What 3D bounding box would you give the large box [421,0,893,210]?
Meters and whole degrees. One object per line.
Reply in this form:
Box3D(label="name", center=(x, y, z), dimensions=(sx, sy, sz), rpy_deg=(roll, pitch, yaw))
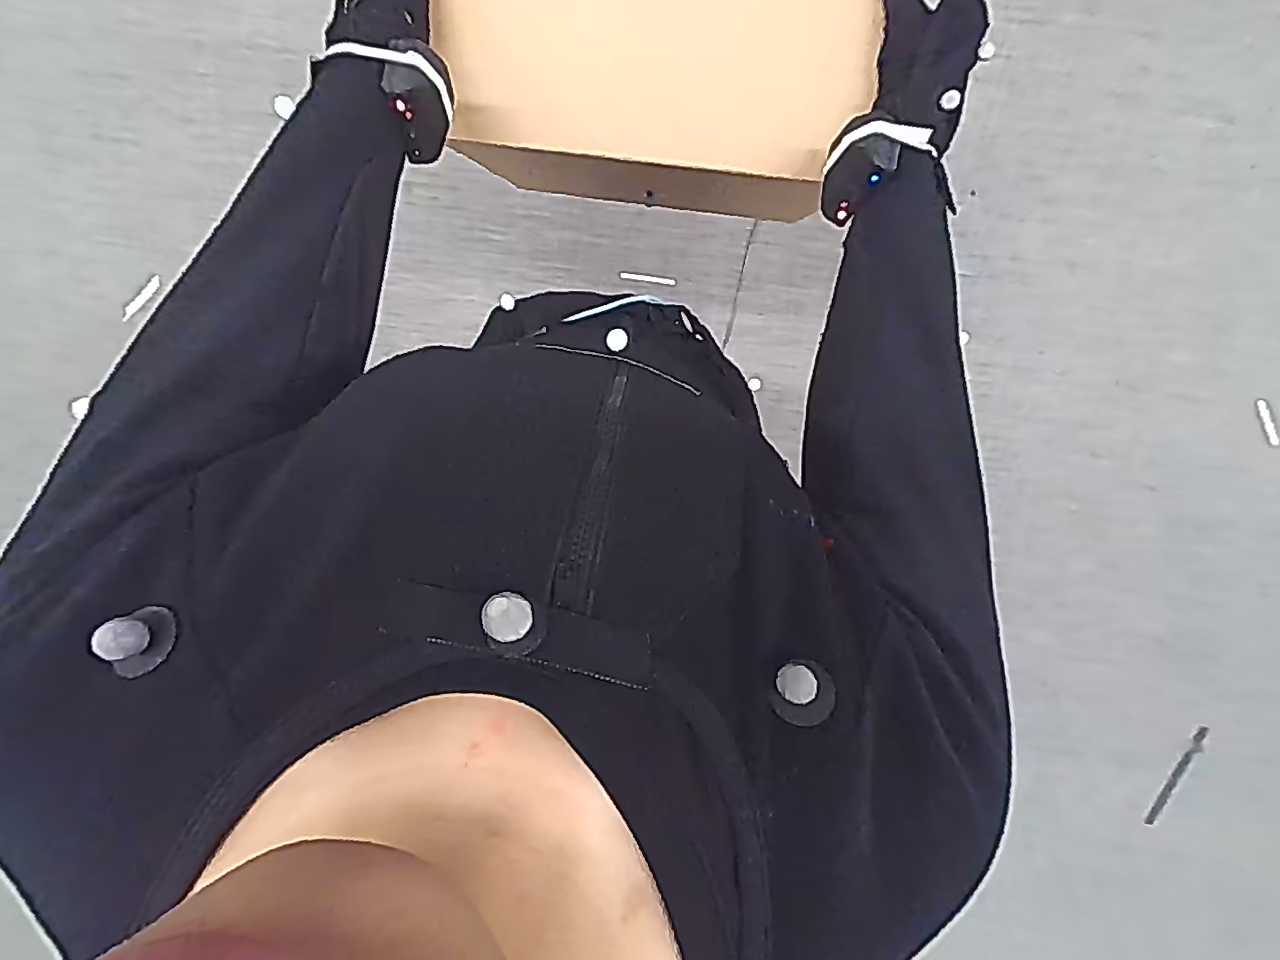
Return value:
Box3D(label="large box", center=(0.028, -0.492, 0.579), dimensions=(0.408, 0.320, 0.320), rpy_deg=(8, 110, 2))
